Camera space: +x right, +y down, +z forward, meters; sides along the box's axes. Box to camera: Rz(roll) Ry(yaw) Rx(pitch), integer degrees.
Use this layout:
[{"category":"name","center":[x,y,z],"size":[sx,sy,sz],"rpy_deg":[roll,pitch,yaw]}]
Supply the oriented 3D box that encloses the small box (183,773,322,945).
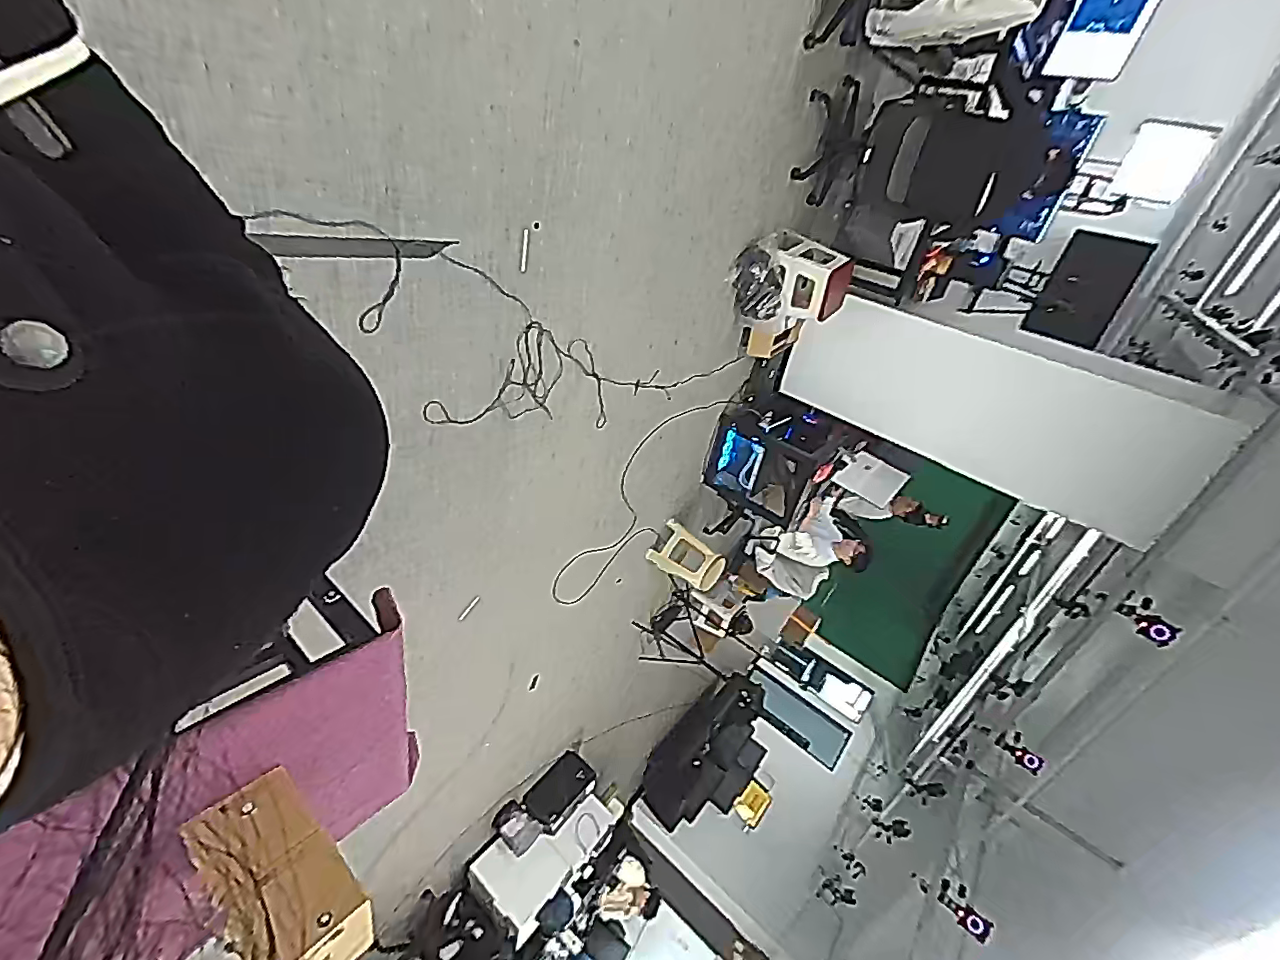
[{"category":"small box","center":[-0.717,0.699,1.015],"size":[0.168,0.176,0.179],"rpy_deg":[-24,136,-48]}]

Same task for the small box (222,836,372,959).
[{"category":"small box","center":[-0.592,0.774,0.941],"size":[0.168,0.176,0.179],"rpy_deg":[-24,137,-49]}]
